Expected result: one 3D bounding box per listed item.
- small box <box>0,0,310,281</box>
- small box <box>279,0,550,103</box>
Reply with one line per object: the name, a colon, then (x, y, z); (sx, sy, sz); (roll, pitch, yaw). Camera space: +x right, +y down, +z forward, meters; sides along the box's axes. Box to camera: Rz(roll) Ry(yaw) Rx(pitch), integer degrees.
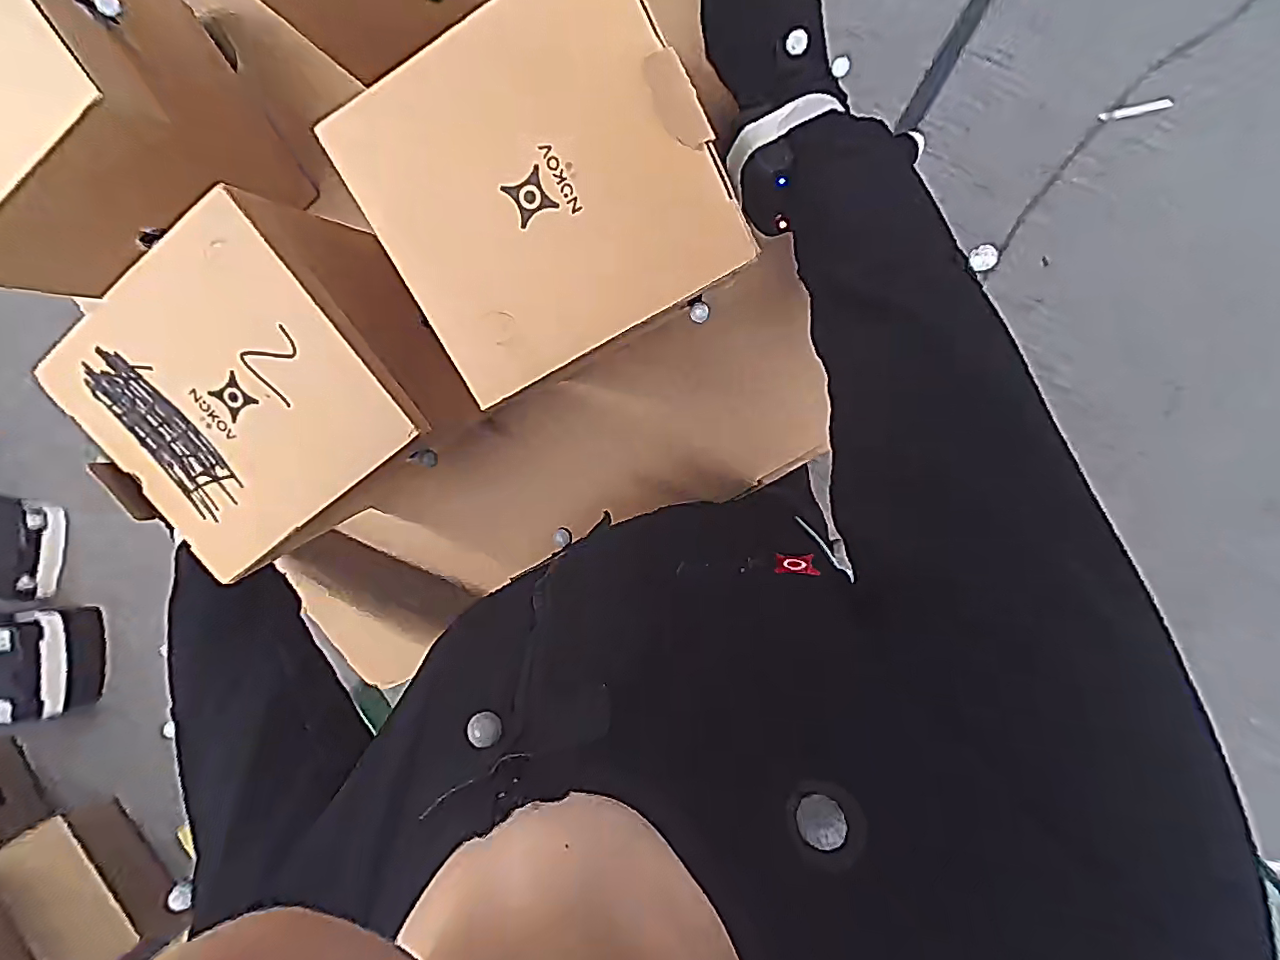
small box: (-0.382, -0.259, 0.374); (0.168, 0.176, 0.179); (-30, 95, 12)
small box: (-0.155, -0.381, 0.319); (0.179, 0.176, 0.168); (-29, 97, 13)
